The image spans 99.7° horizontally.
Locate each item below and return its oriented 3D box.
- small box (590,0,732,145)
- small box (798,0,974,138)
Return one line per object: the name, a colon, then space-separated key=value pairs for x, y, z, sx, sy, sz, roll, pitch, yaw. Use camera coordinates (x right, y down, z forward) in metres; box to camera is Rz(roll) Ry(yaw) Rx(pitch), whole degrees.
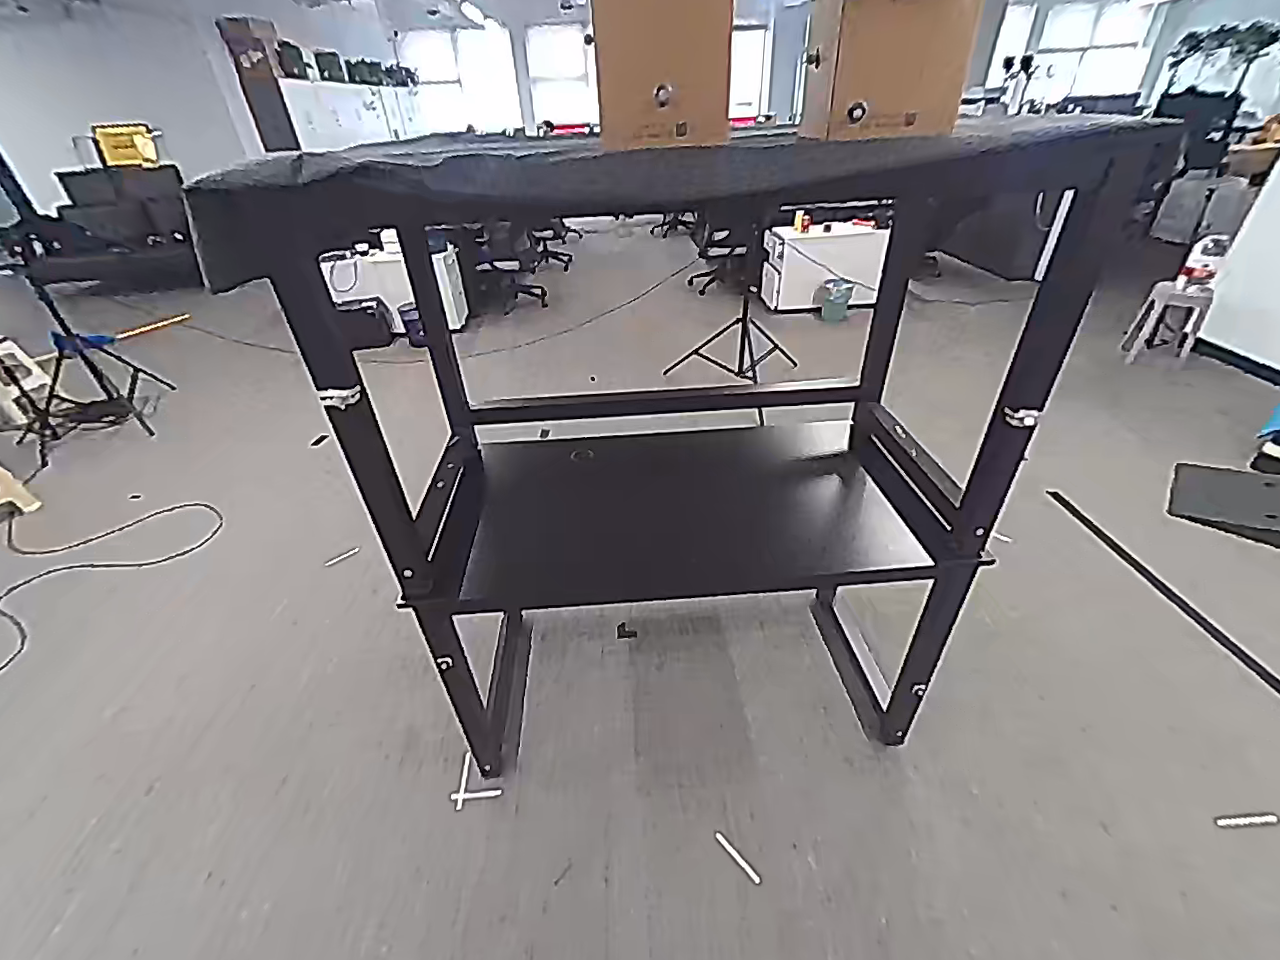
small box: x=0.023 y=-0.546 z=0.718 sx=0.168 sy=0.176 sz=0.179 roll=-4 pitch=33 yaw=0
small box: x=0.321 y=-0.568 z=0.731 sx=0.168 sy=0.176 sz=0.179 roll=-2 pitch=33 yaw=2
